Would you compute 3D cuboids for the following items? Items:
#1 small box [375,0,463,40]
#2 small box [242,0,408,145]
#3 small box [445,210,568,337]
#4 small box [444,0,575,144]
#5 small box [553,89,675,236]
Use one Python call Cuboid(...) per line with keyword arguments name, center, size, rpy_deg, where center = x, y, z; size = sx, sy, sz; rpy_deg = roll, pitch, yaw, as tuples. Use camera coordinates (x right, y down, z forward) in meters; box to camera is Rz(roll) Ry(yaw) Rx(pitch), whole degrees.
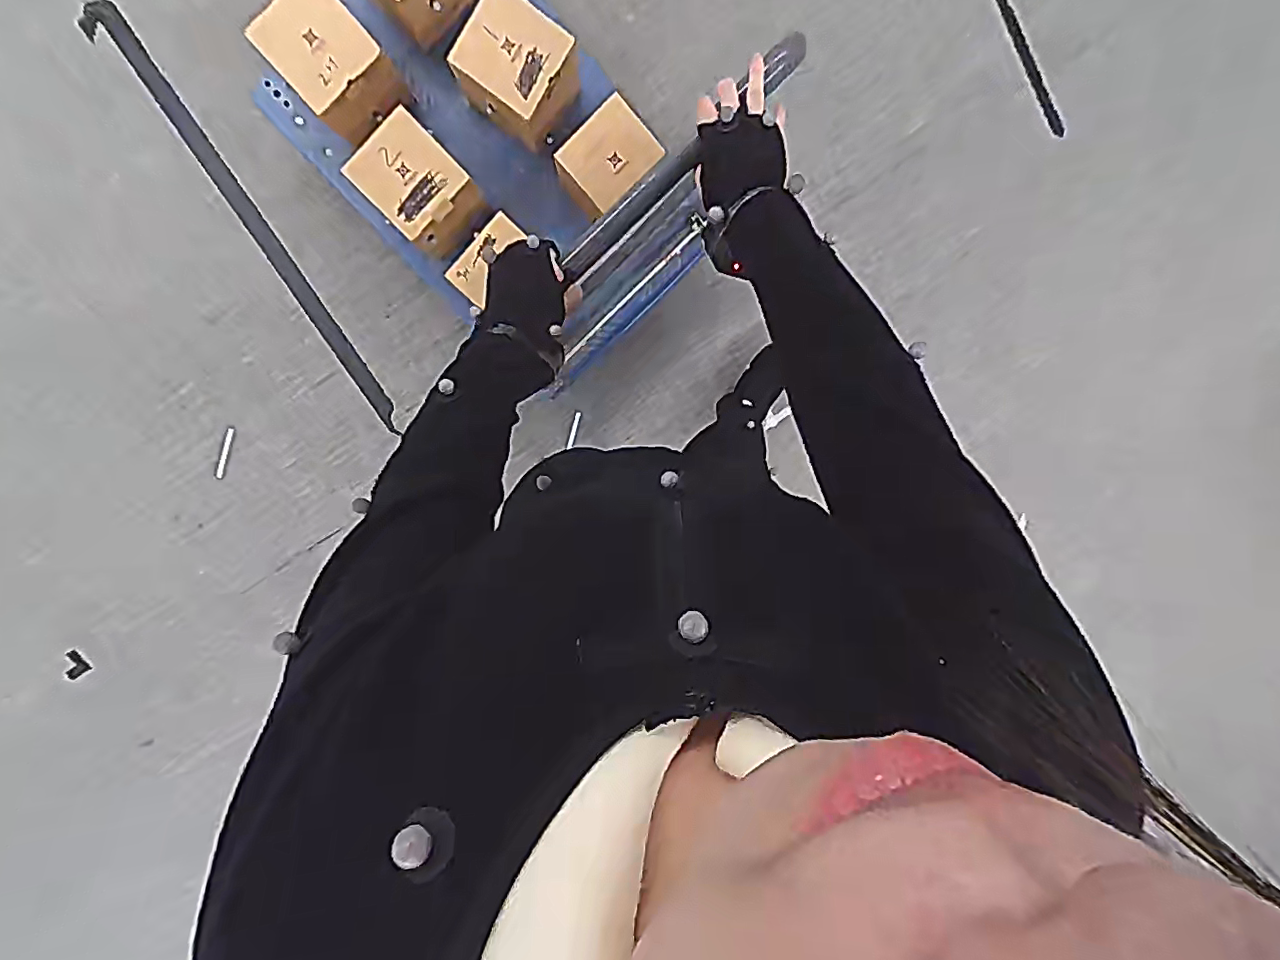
Cuboid(name="small box", center=(-0.440, -0.973, 1.000), size=(0.179, 0.176, 0.168), rpy_deg=(42, 96, -10))
Cuboid(name="small box", center=(-0.582, -0.787, 1.025), size=(0.168, 0.176, 0.179), rpy_deg=(-42, 102, 5))
Cuboid(name="small box", center=(-0.263, -0.414, 1.121), size=(0.179, 0.176, 0.168), rpy_deg=(42, 95, -11))
Cuboid(name="small box", center=(-0.240, -0.794, 1.049), size=(0.179, 0.176, 0.168), rpy_deg=(34, 97, -9))
Cuboid(name="small box", center=(-0.053, -0.624, 1.097), size=(0.168, 0.176, 0.179), rpy_deg=(-43, 100, 4))
